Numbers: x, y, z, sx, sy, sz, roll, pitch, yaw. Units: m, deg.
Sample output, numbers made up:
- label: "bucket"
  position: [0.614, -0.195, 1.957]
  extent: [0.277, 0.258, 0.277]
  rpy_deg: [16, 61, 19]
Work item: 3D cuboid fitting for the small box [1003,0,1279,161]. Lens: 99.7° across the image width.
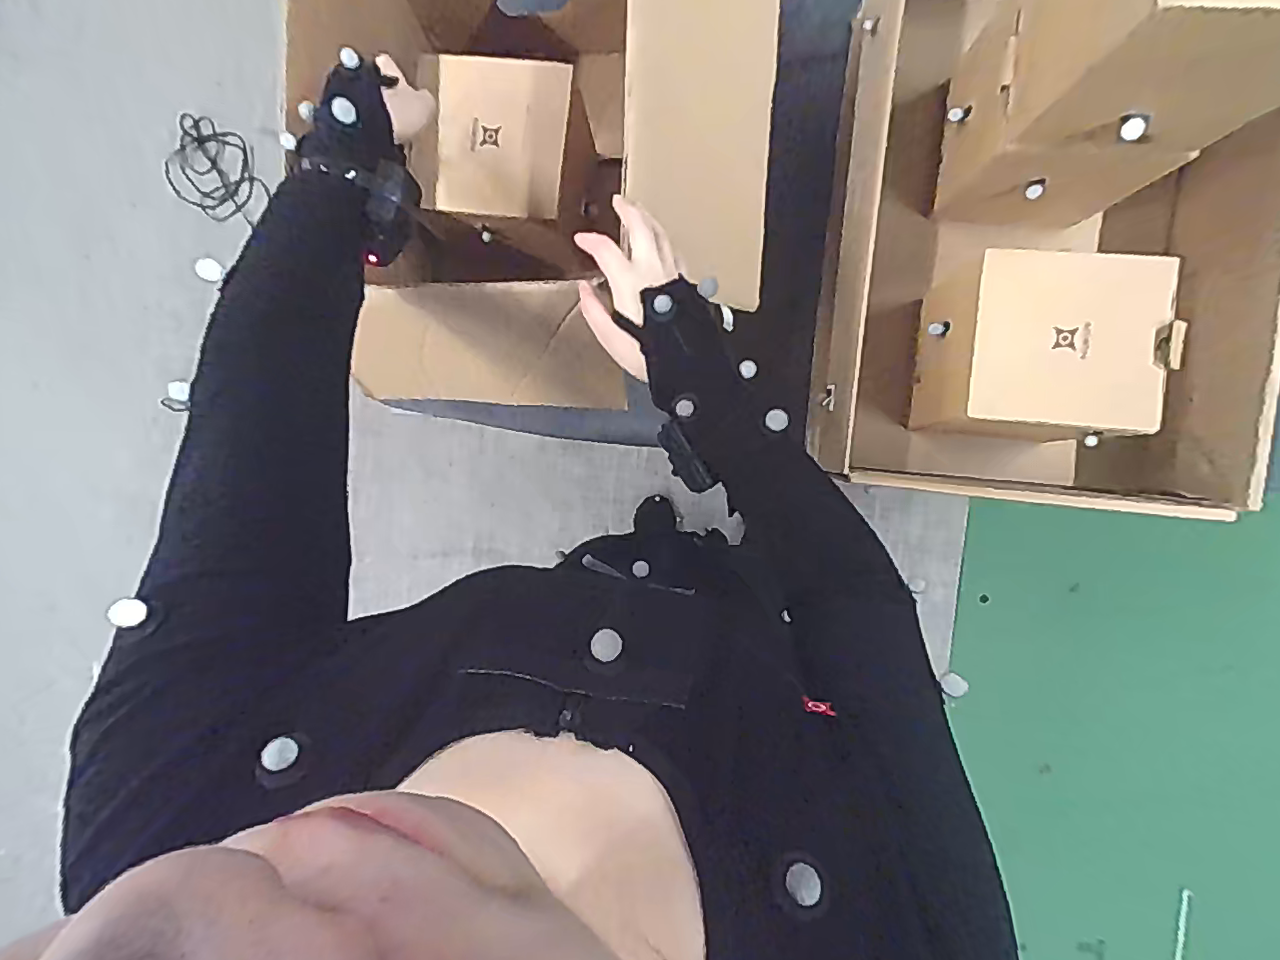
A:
- label: "small box"
  position: [0.425, -0.389, 0.427]
  extent: [0.168, 0.176, 0.179]
  rpy_deg: [7, 96, 4]
